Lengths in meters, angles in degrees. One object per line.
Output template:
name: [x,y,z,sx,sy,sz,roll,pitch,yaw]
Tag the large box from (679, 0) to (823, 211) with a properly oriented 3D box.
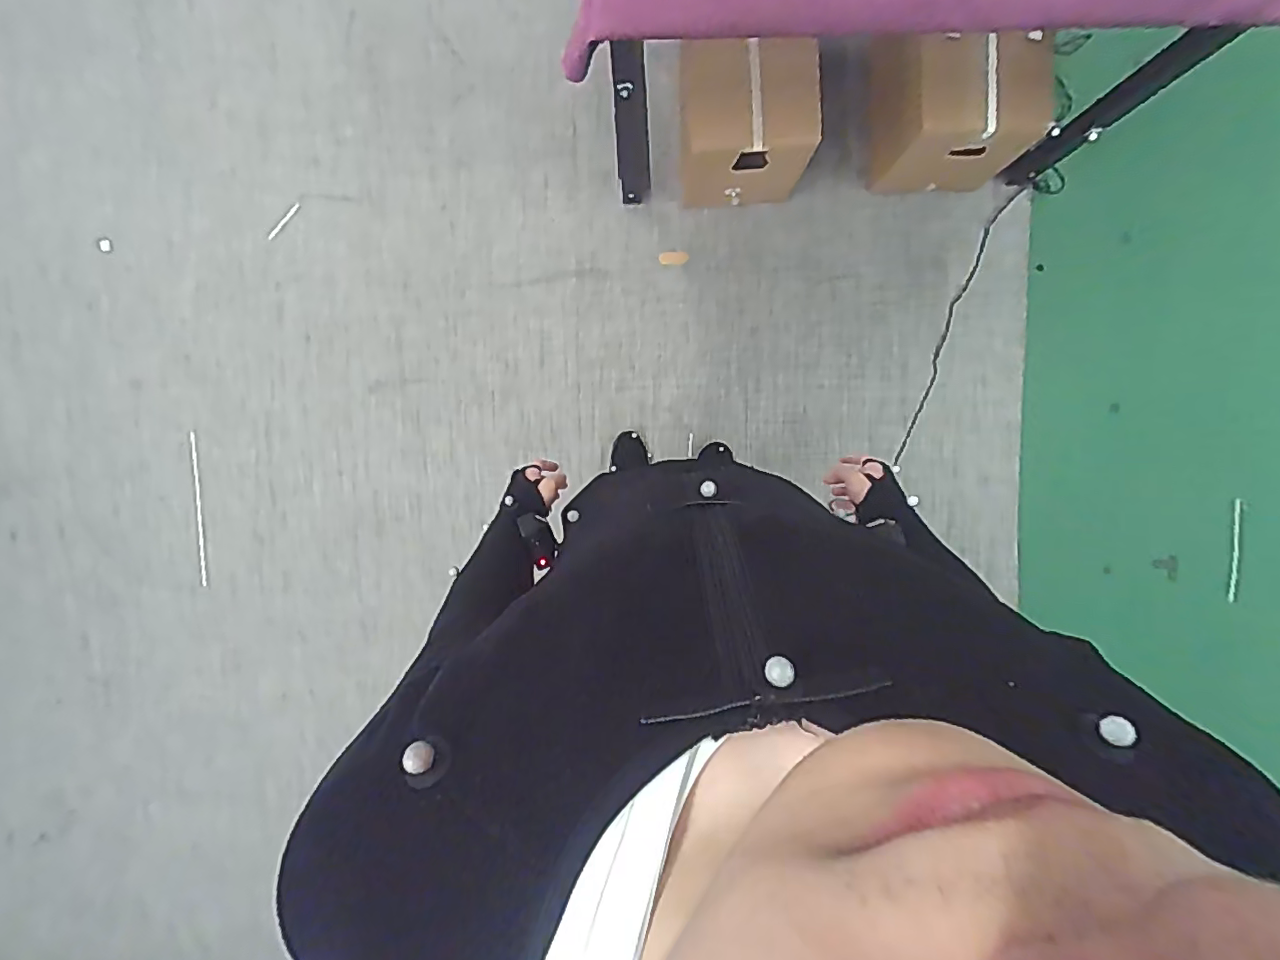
large box: [0.274,-0.993,1.434,0.320,0.320,0.408,-3,92,1]
